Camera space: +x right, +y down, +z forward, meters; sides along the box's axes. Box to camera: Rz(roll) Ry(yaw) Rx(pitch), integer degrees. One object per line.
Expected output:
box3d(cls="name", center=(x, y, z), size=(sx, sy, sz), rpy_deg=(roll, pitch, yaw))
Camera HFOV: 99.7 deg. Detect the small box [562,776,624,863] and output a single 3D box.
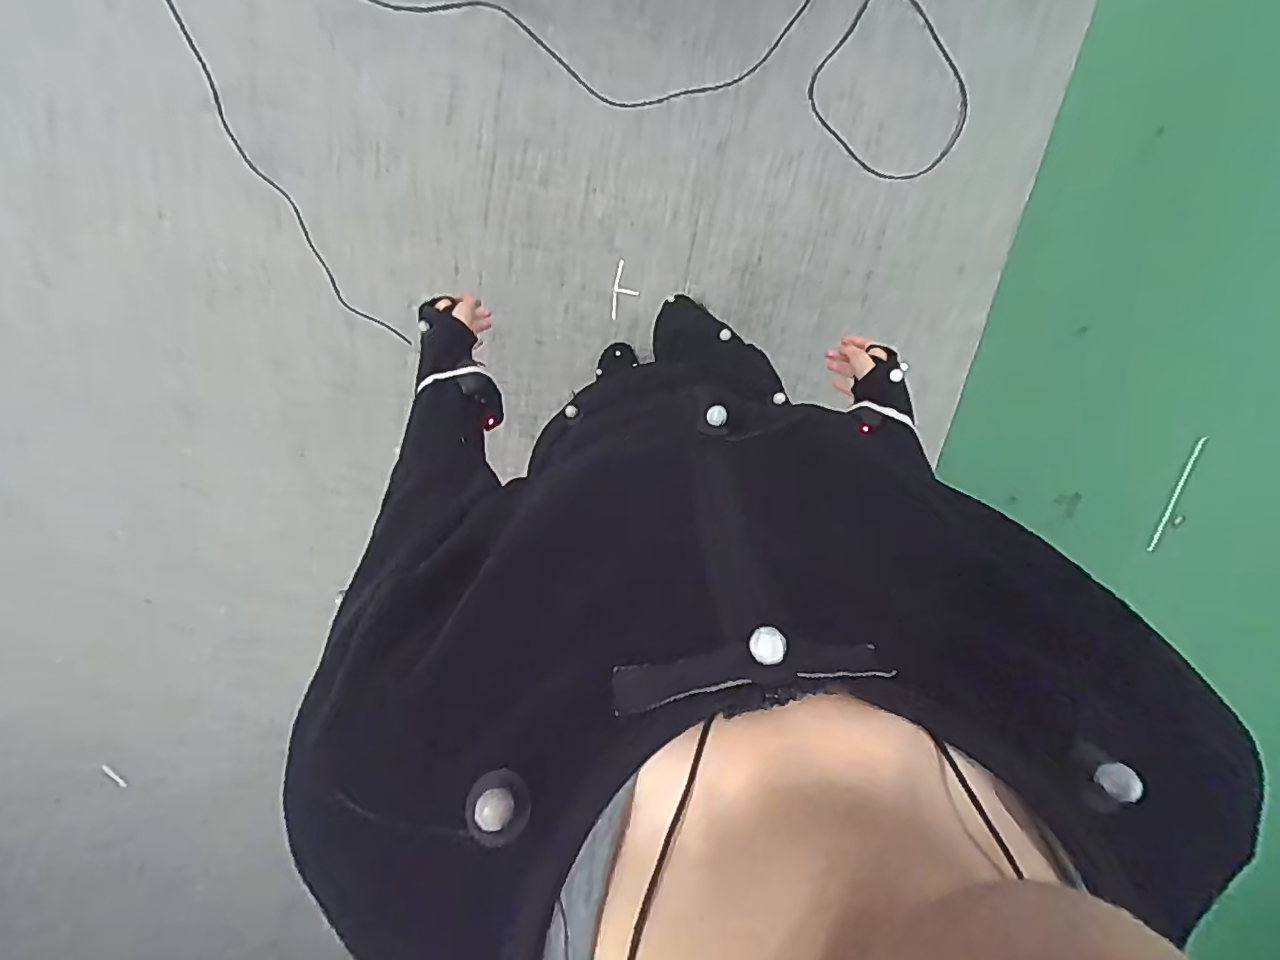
box3d(cls="small box", center=(-0.149, 1.070, 1.714), size=(0.179, 0.176, 0.168), rpy_deg=(5, 105, -6))
